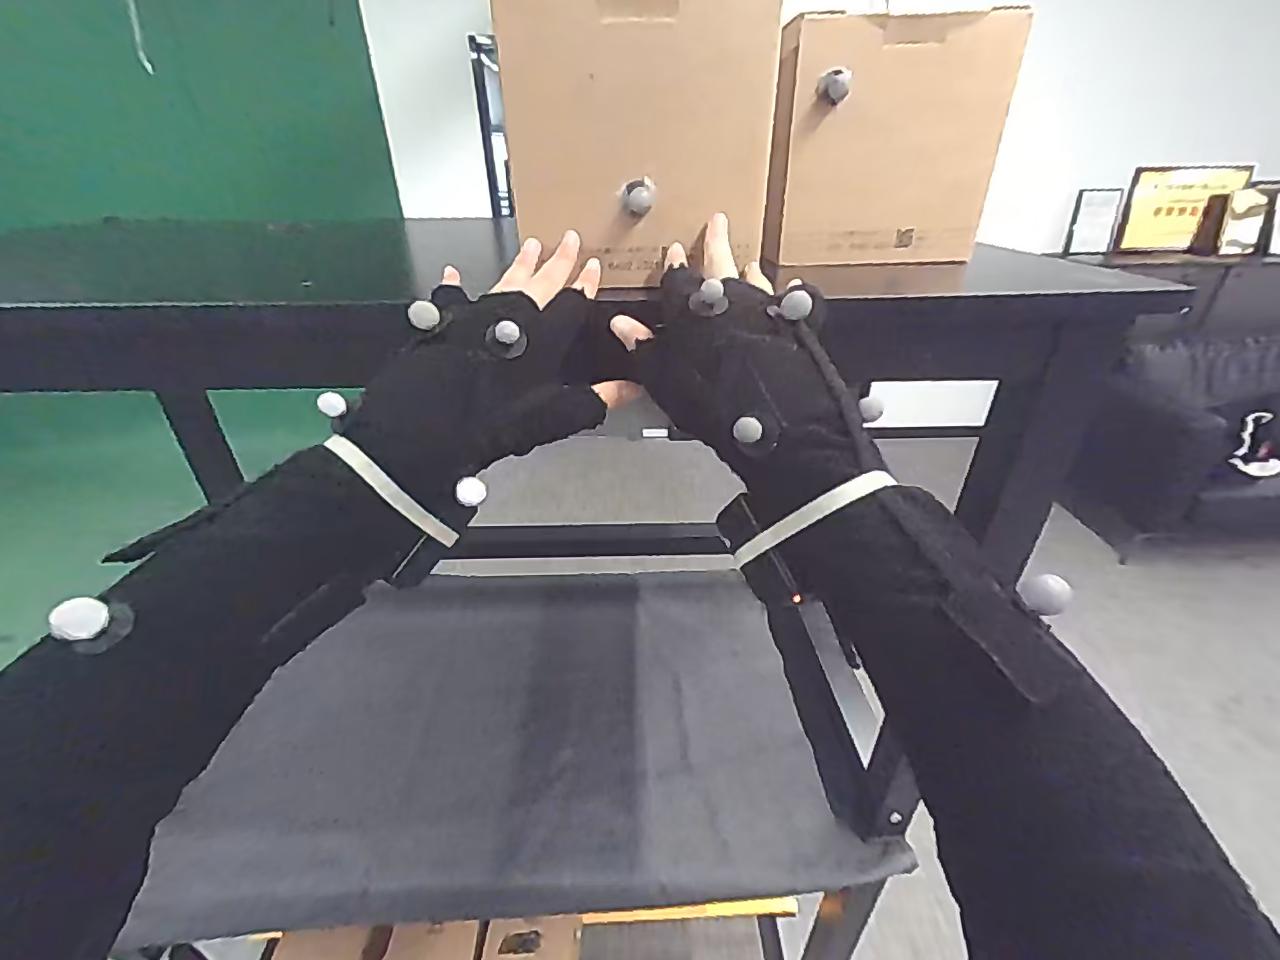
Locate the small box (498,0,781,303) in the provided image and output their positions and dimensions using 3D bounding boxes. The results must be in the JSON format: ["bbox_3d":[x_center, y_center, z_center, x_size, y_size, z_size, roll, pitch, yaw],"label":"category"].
[{"bbox_3d":[-0.003,-0.242,0.419,0.168,0.176,0.179,-2,31,-2],"label":"small box"}]
